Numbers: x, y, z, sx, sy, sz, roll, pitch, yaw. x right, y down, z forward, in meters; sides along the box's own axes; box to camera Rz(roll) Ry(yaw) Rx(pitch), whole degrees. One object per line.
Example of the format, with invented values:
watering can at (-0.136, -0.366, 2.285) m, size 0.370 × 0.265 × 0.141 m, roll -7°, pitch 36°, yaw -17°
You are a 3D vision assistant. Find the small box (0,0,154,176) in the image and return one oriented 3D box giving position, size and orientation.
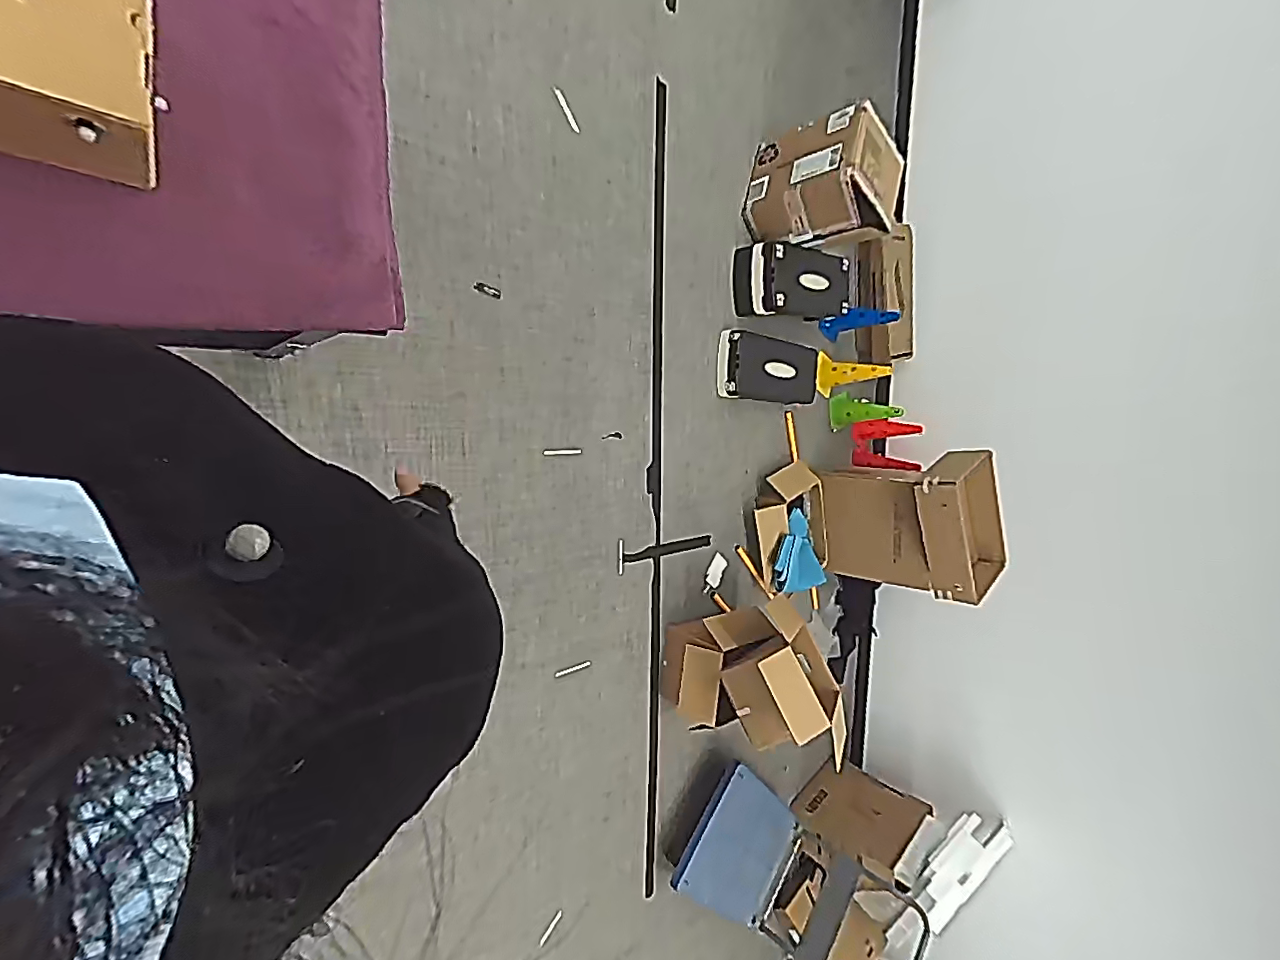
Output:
small box at (-0.522, -0.384, 0.447) m, size 0.179 × 0.176 × 0.168 m, roll -1°, pitch 96°, yaw -43°
